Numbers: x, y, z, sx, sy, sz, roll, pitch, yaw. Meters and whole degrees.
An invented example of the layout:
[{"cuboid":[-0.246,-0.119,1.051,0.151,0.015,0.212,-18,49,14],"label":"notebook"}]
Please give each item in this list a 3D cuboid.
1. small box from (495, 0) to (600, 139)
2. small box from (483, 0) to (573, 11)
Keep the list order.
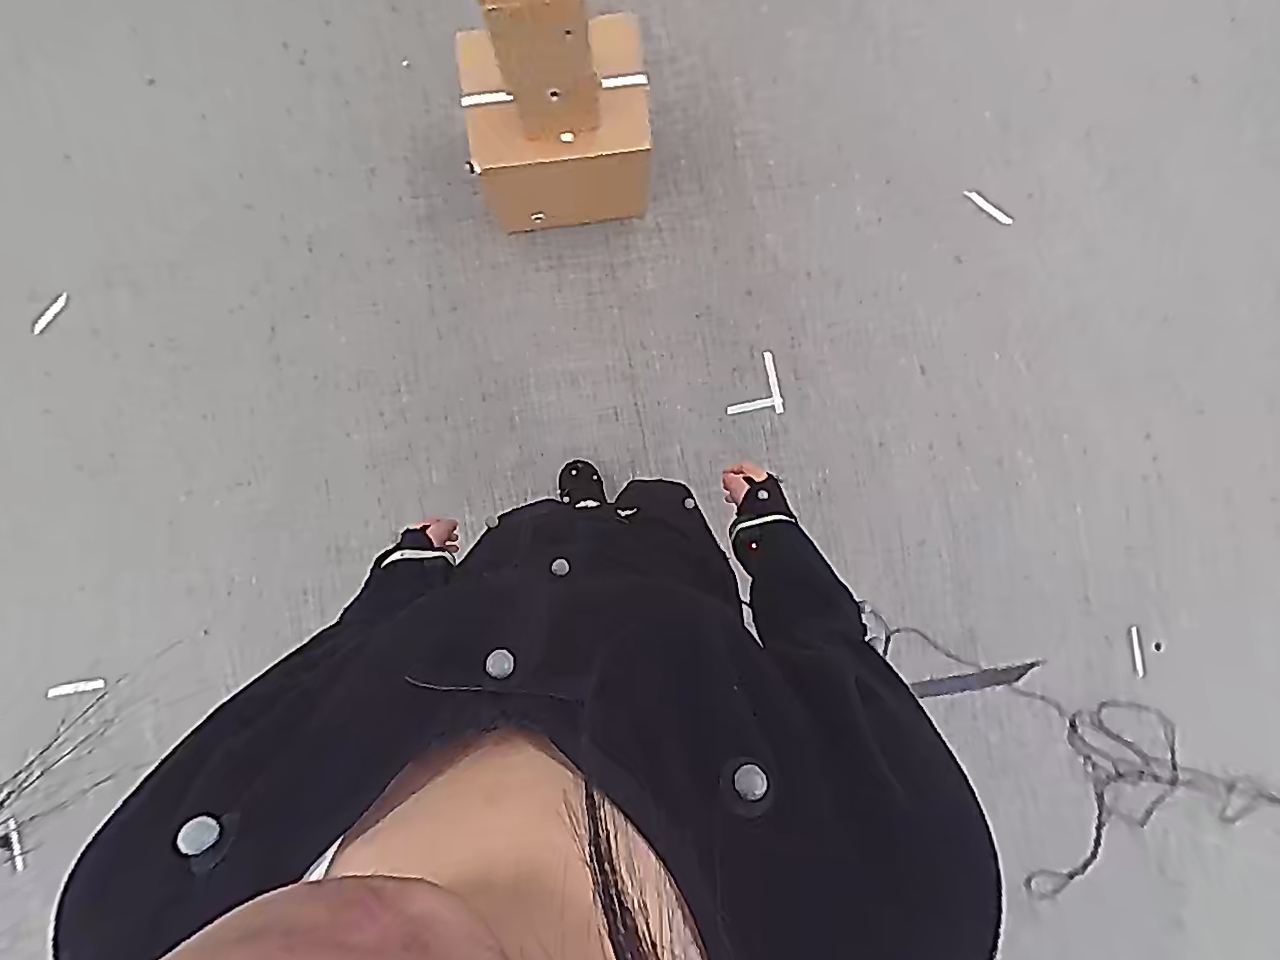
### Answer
[{"cuboid":[-0.184,-0.842,1.119,0.179,0.176,0.168,-11,91,-3],"label":"small box"},{"cuboid":[-0.185,-0.852,0.793,0.168,0.176,0.179,-10,91,-2],"label":"small box"}]
